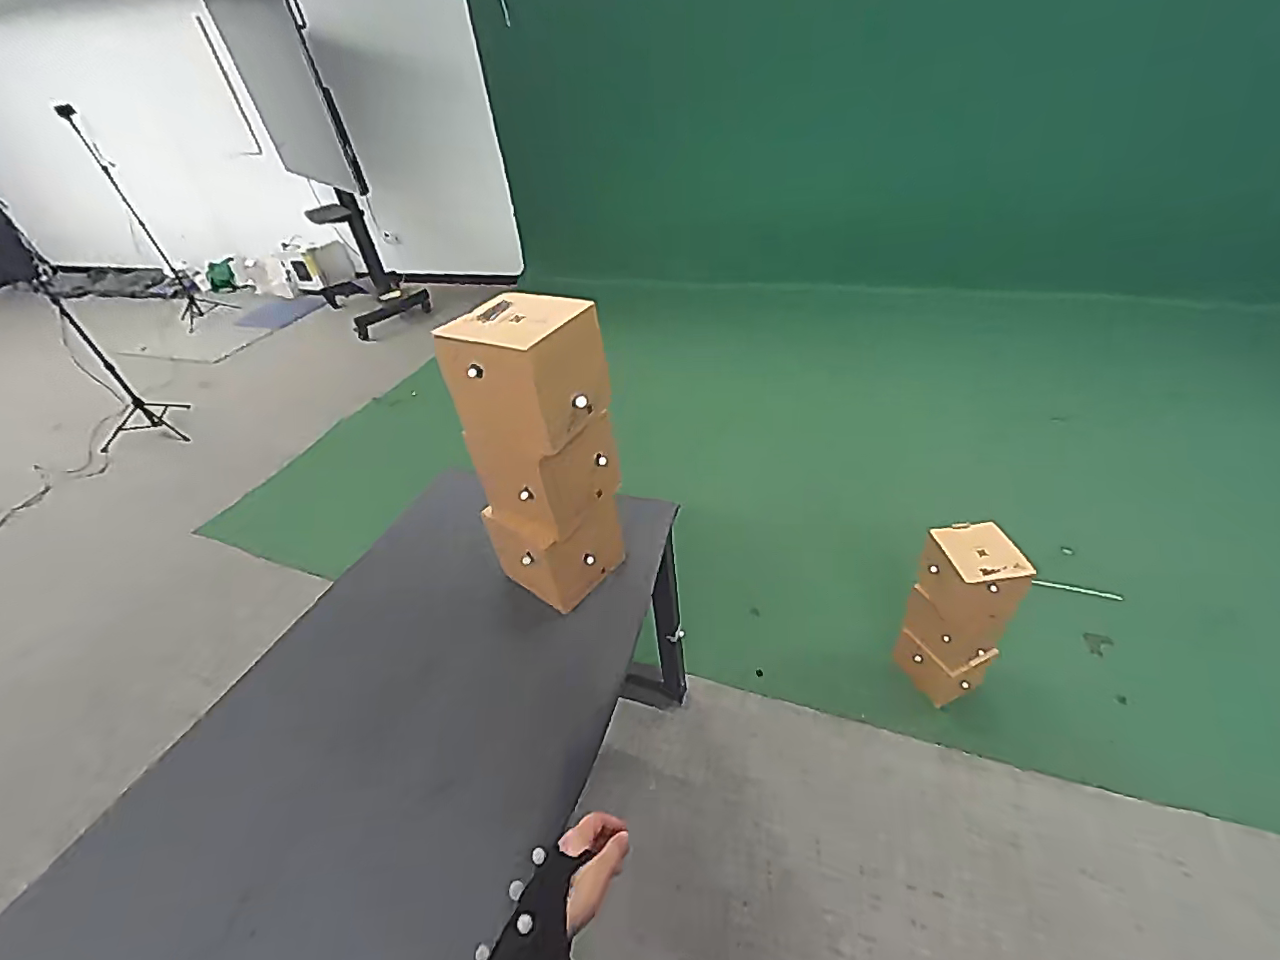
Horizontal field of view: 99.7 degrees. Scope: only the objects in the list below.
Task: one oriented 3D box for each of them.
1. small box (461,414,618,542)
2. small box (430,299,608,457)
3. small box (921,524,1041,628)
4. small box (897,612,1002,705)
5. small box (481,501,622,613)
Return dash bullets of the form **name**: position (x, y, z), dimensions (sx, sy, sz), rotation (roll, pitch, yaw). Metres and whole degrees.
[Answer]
- **small box**: position (-0.156, -0.022, 0.900), dimensions (0.179, 0.176, 0.168), rotation (18, 44, 32)
- **small box**: position (-0.168, -0.153, 0.801), dimensions (0.179, 0.176, 0.168), rotation (14, 43, 26)
- **small box**: position (0.820, 0.234, 1.325), dimensions (0.168, 0.176, 0.179), rotation (-8, 39, 0)
- **small box**: position (0.857, 0.501, 1.515), dimensions (0.168, 0.176, 0.179), rotation (-20, 40, -15)
- **small box**: position (-0.153, 0.114, 0.990), dimensions (0.179, 0.176, 0.168), rotation (22, 47, 35)
